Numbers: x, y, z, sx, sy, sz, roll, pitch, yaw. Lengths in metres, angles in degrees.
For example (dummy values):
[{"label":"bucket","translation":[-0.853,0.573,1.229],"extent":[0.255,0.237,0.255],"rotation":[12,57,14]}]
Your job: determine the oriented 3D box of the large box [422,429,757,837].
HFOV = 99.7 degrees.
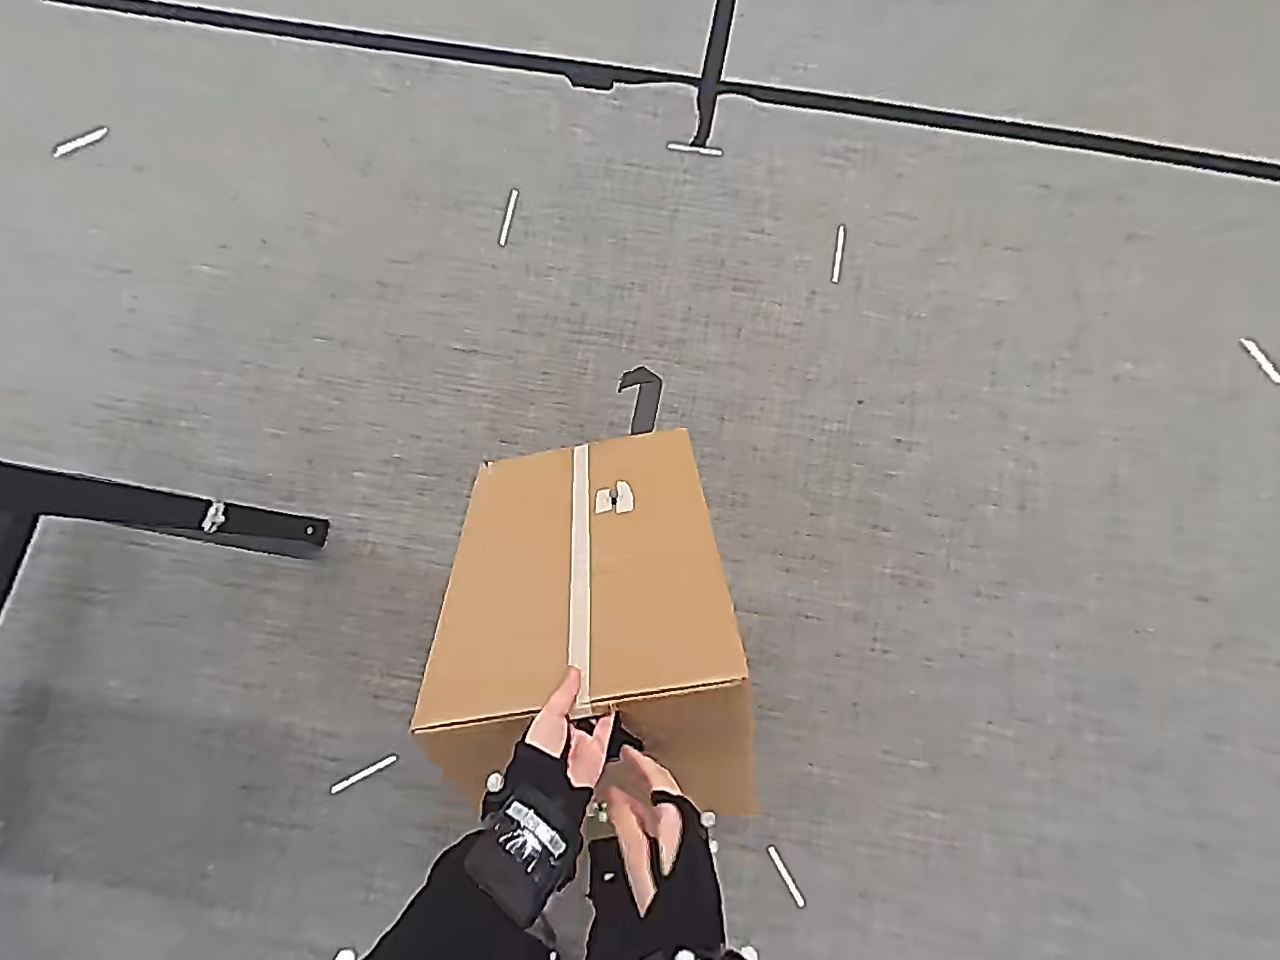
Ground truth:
[{"label":"large box","translation":[-0.043,0.187,0.728],"extent":[0.320,0.320,0.408],"rotation":[-8,39,2]}]
